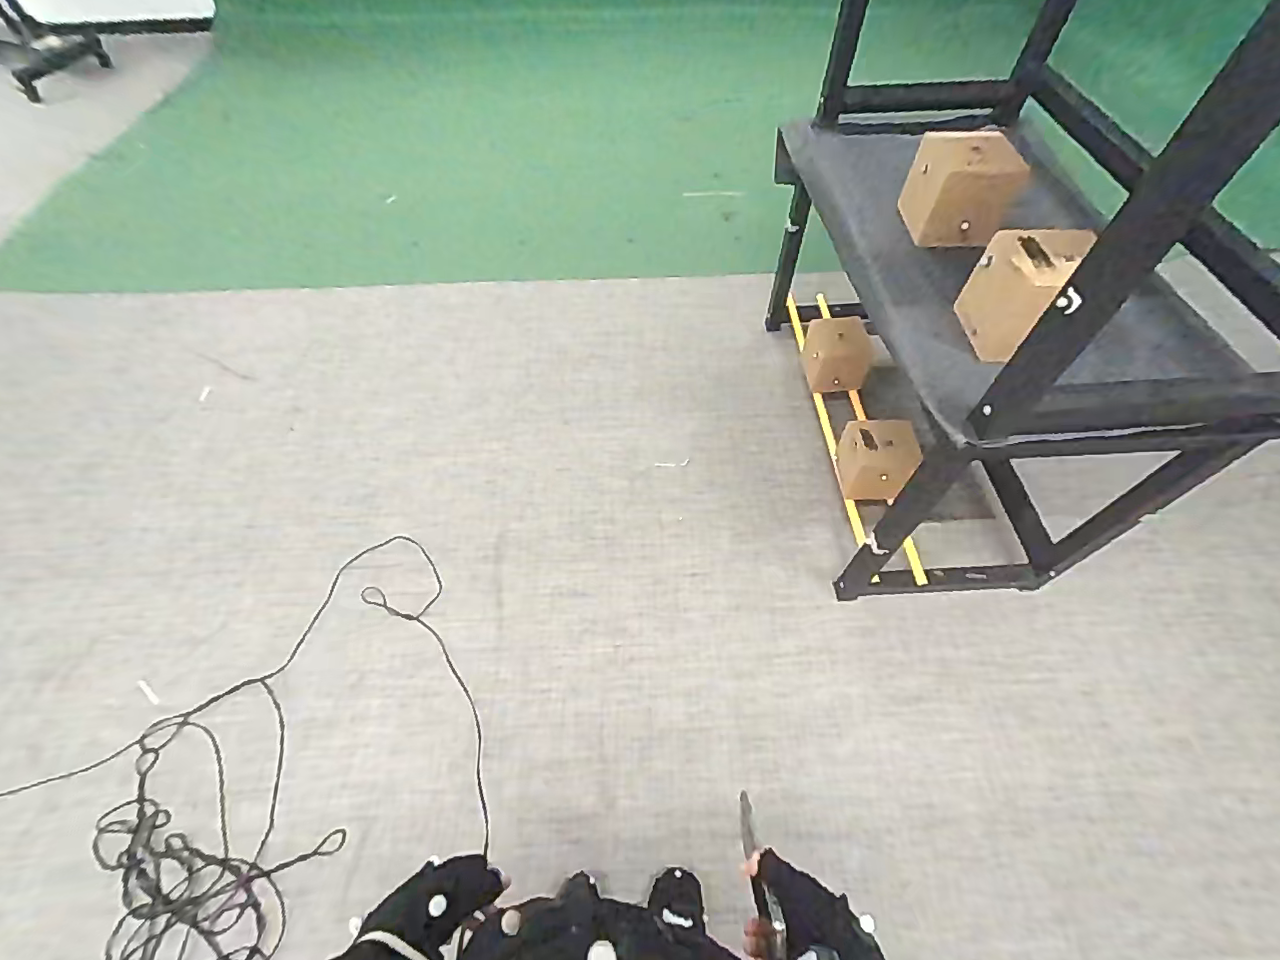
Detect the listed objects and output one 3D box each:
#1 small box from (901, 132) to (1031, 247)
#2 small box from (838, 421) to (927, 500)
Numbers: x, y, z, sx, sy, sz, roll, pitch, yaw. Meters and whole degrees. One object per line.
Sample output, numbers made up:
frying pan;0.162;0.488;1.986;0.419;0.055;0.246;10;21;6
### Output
small box;0.707;-0.643;1.198;0.168;0.176;0.179;0;56;1
small box;0.683;-0.053;1.551;0.179;0.176;0.168;0;56;2
